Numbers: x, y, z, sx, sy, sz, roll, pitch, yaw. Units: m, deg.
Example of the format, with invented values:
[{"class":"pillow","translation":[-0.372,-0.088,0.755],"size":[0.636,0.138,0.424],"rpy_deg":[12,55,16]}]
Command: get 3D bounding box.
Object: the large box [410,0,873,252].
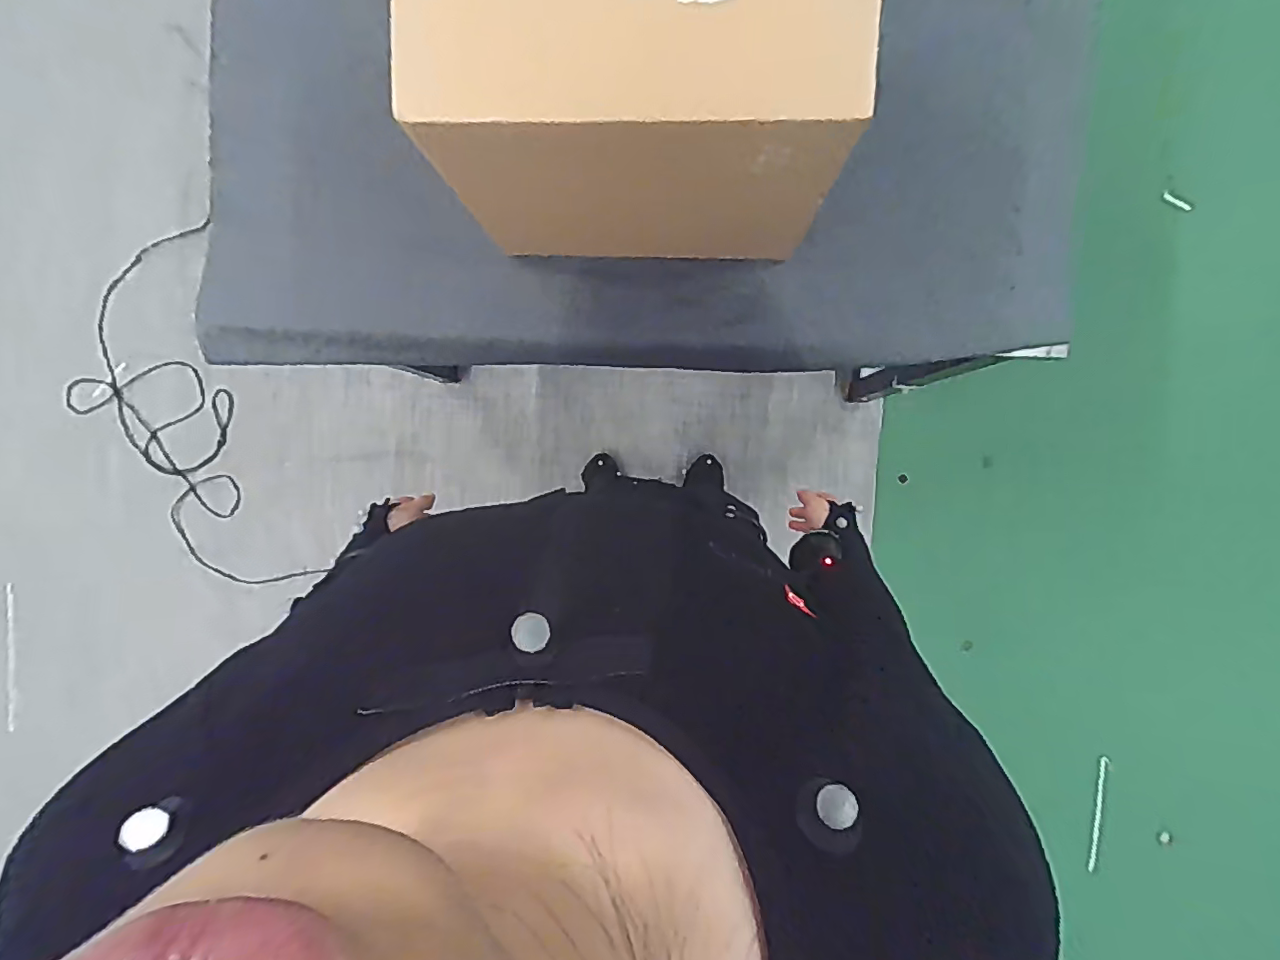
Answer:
[{"class":"large box","translation":[0.005,-0.469,0.607],"size":[0.408,0.320,0.320],"rpy_deg":[2,93,3]}]
